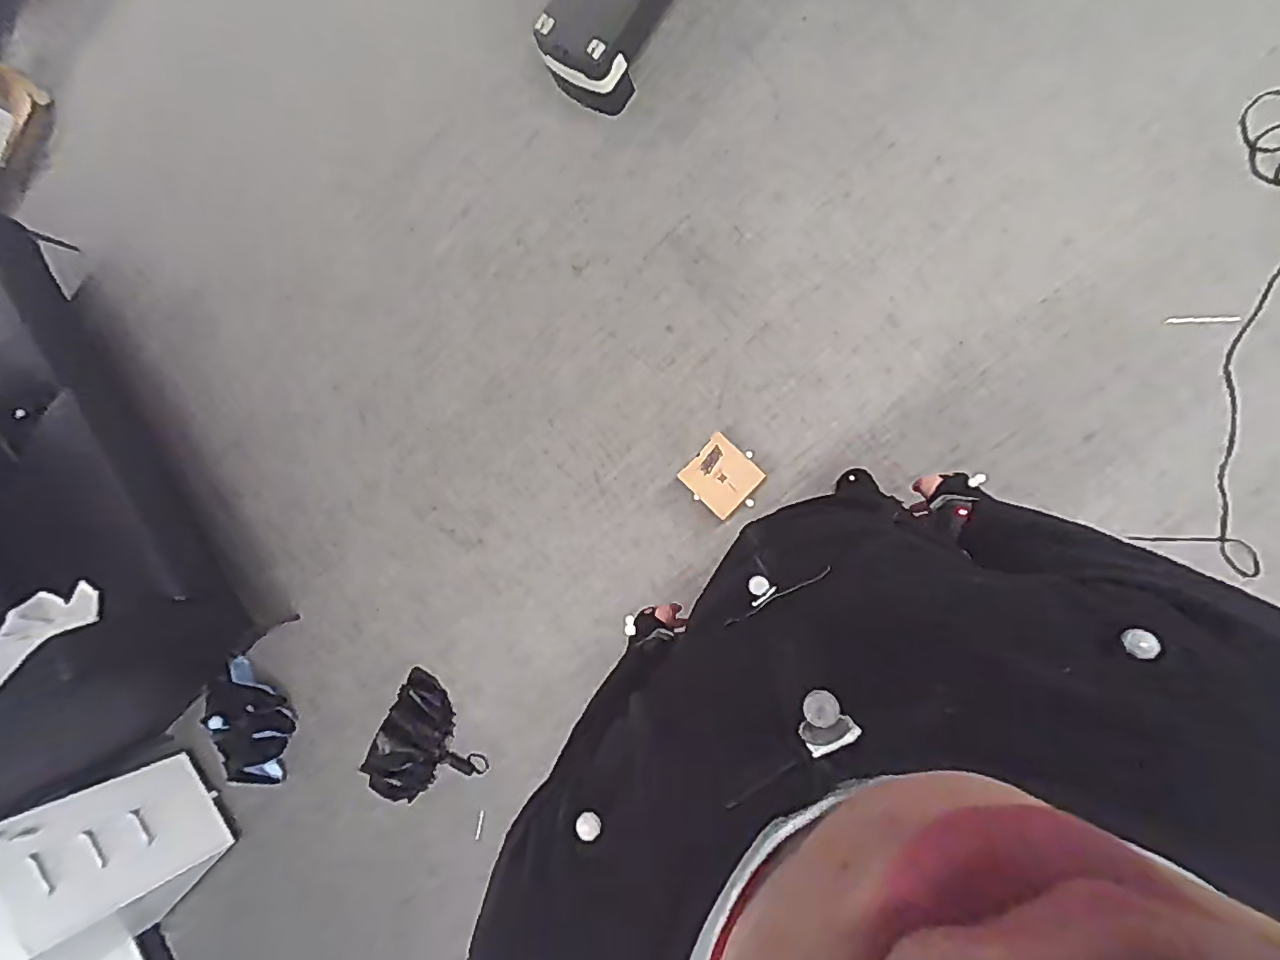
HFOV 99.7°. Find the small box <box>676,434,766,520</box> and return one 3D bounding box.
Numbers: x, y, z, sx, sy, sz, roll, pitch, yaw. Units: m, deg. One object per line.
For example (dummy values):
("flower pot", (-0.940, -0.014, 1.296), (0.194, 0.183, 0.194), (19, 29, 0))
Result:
("small box", (0.230, -0.003, 1.509), (0.179, 0.176, 0.168), (44, 100, 13))
